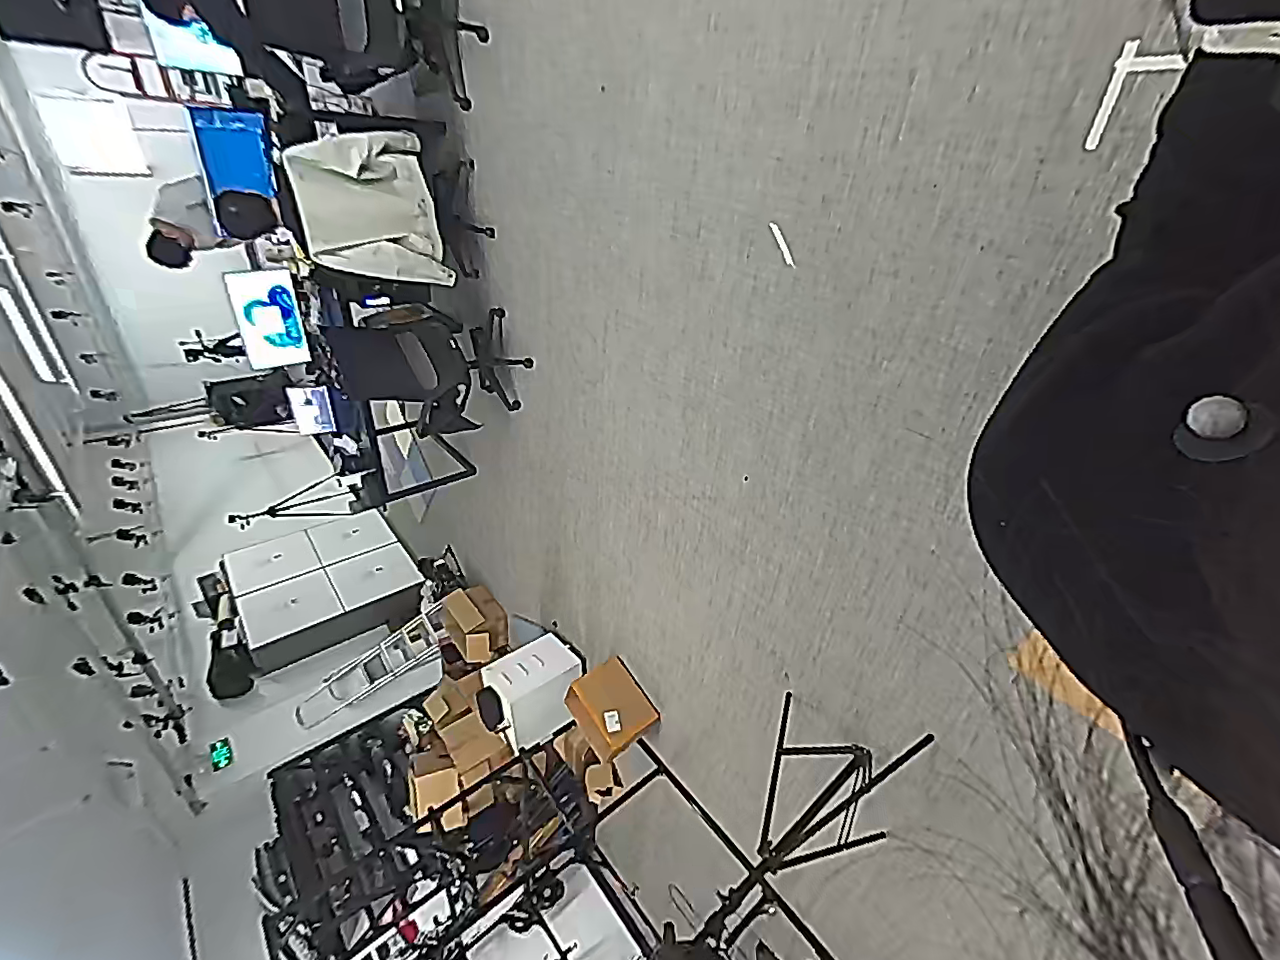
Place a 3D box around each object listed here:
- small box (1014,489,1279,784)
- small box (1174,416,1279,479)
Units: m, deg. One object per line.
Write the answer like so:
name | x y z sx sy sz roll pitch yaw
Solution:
small box | 0.513 0.134 0.519 0.168 0.176 0.179 38 137 37
small box | 0.762 0.036 0.702 0.168 0.176 0.179 40 135 35
